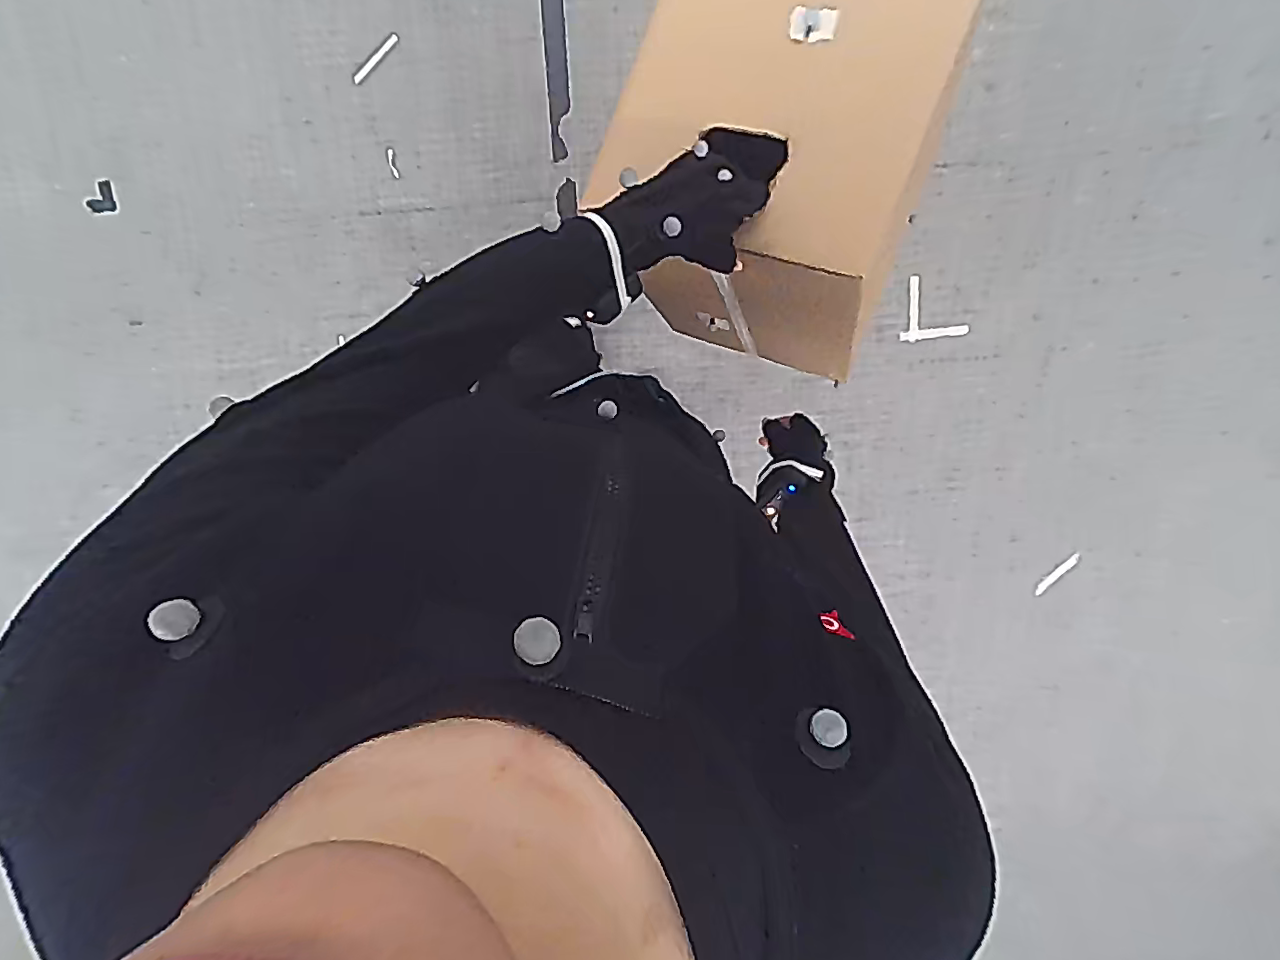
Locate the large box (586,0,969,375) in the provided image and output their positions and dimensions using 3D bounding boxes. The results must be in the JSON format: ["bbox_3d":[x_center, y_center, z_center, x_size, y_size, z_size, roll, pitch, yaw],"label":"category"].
[{"bbox_3d":[0.188,-0.372,0.724,0.320,0.408,0.320,23,95,19],"label":"large box"}]
